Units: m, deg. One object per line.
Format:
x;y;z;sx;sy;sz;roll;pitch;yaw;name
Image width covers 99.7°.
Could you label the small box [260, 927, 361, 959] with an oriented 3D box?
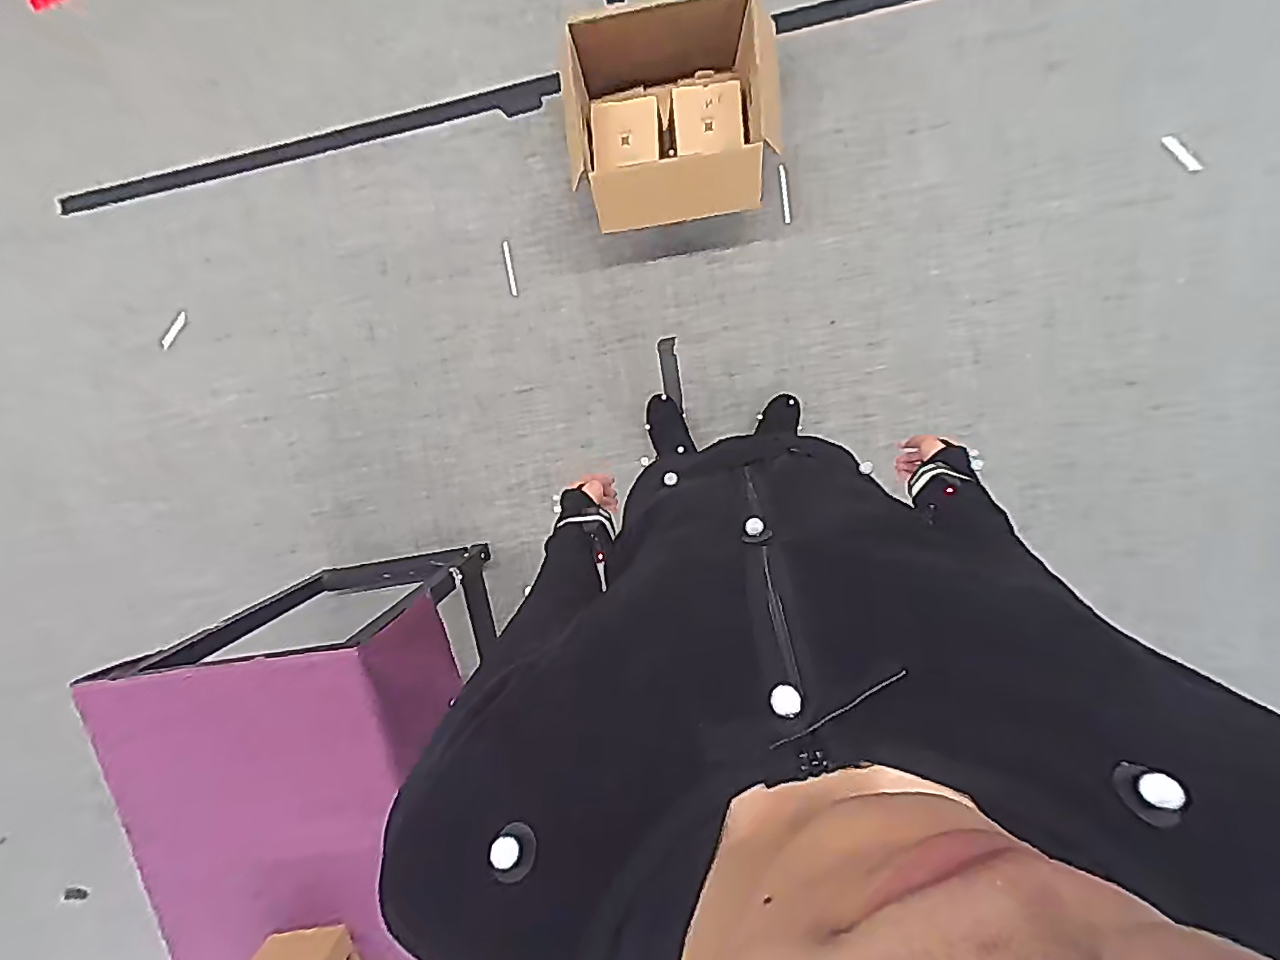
-0.664;1.017;1.042;0.179;0.176;0.168;-13;98;5;small box
